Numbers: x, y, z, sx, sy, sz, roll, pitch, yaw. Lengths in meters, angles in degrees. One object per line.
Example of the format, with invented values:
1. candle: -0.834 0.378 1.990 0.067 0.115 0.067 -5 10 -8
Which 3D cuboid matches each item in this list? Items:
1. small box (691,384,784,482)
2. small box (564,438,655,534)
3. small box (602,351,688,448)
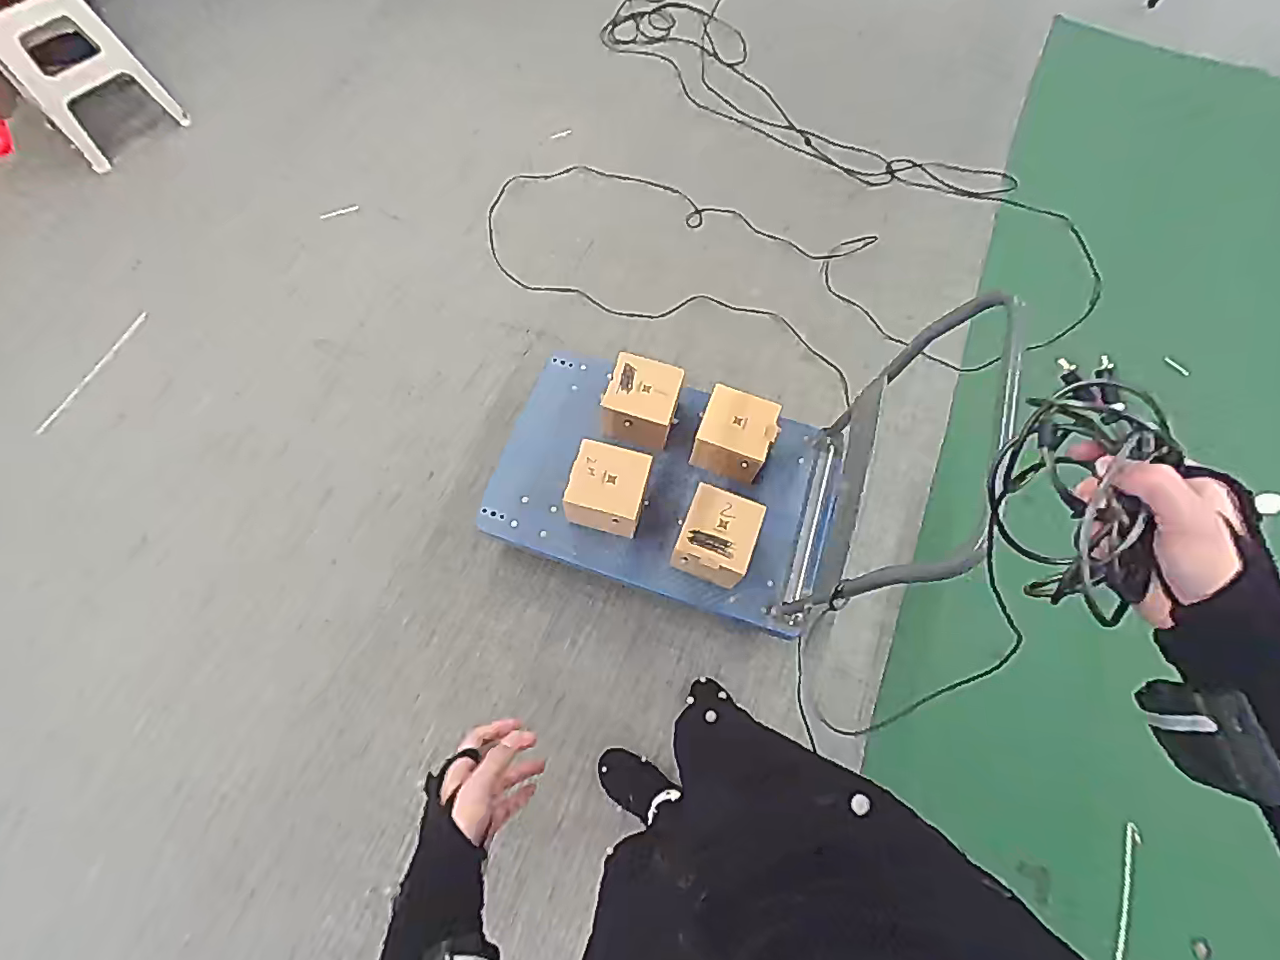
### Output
1. small box: 0.243 -0.114 1.386 0.179 0.176 0.168 21 71 5
2. small box: -0.073 0.022 1.321 0.179 0.176 0.168 15 69 3
3. small box: 0.010 -0.202 1.408 0.179 0.176 0.168 18 71 3
